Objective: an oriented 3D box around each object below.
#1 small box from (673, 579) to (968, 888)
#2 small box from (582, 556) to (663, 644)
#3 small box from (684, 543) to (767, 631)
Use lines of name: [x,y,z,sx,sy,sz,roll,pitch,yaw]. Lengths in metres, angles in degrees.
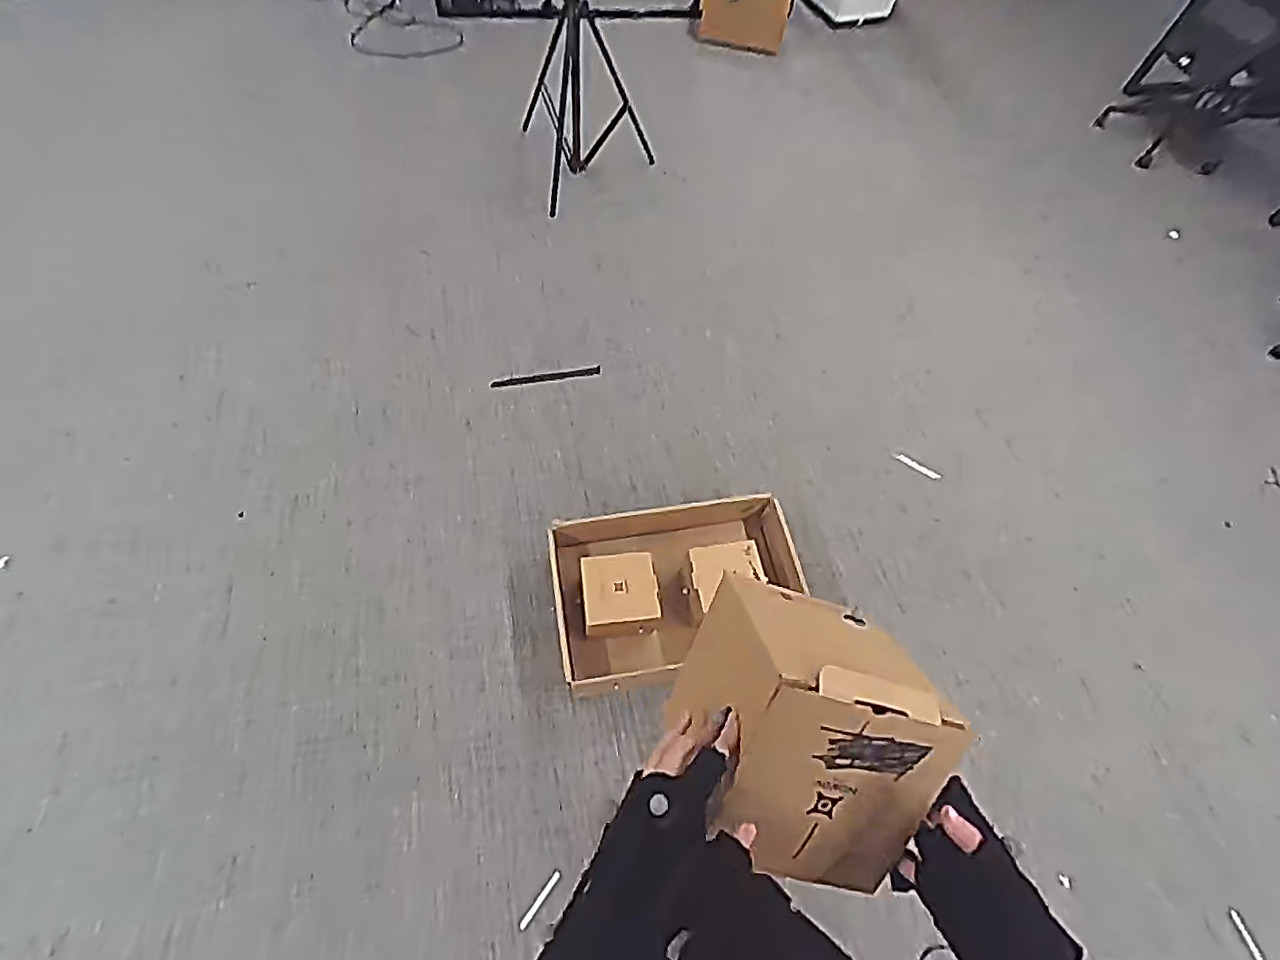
small box: [0.139,0.215,0.492,0.168,0.176,0.179,18,104,-10]
small box: [-0.051,0.301,1.345,0.179,0.176,0.168,-5,62,-9]
small box: [0.213,0.279,1.385,0.179,0.176,0.168,-8,63,-8]
